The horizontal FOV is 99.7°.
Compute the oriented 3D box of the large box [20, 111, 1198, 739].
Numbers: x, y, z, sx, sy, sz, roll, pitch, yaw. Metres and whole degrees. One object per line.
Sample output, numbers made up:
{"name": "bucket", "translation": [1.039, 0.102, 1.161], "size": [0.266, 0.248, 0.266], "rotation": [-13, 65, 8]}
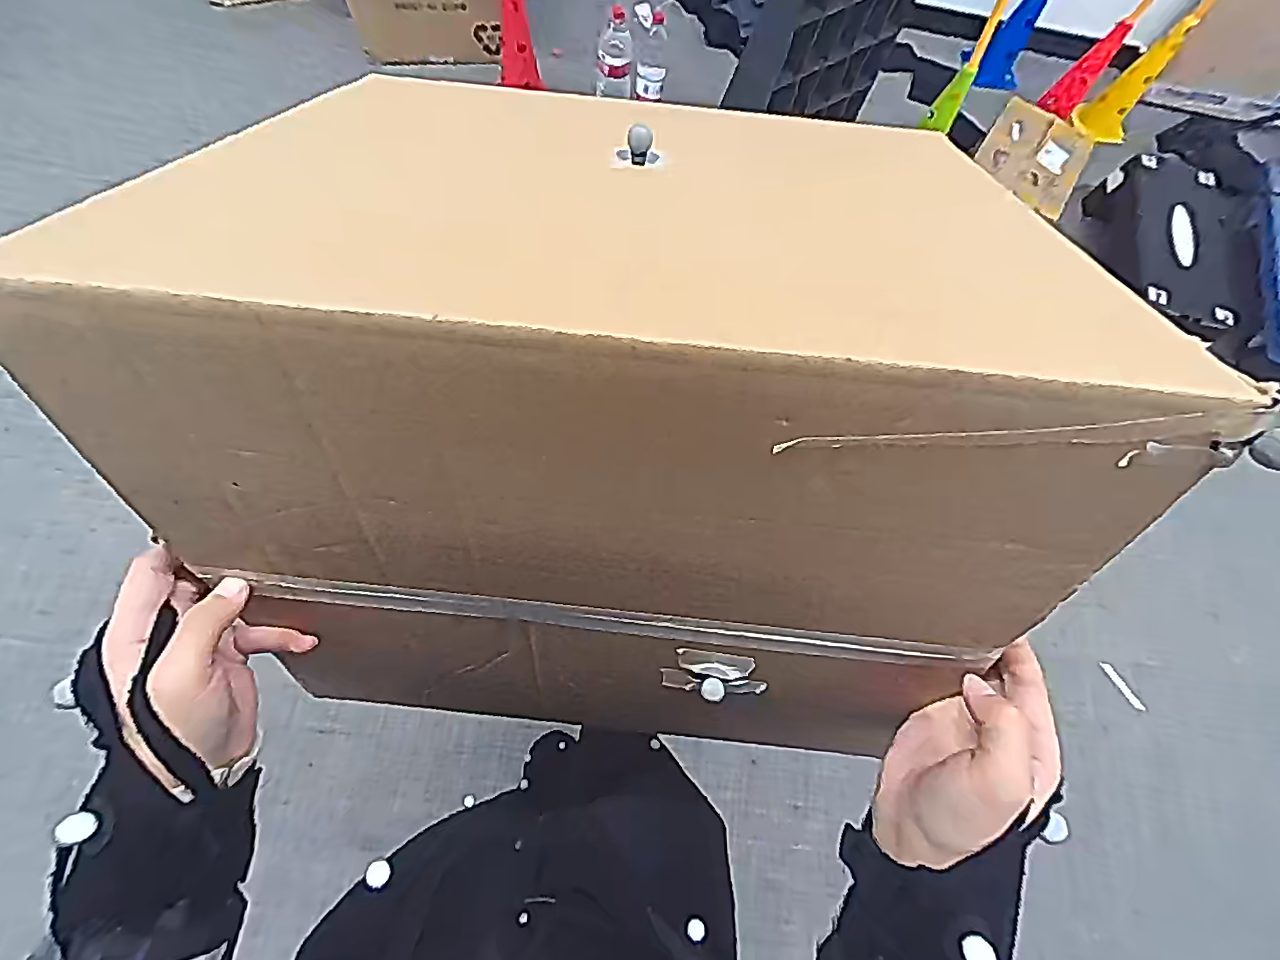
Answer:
{"name": "large box", "translation": [-0.014, -0.043, 0.387], "size": [0.408, 0.320, 0.320], "rotation": [5, 47, 1]}
